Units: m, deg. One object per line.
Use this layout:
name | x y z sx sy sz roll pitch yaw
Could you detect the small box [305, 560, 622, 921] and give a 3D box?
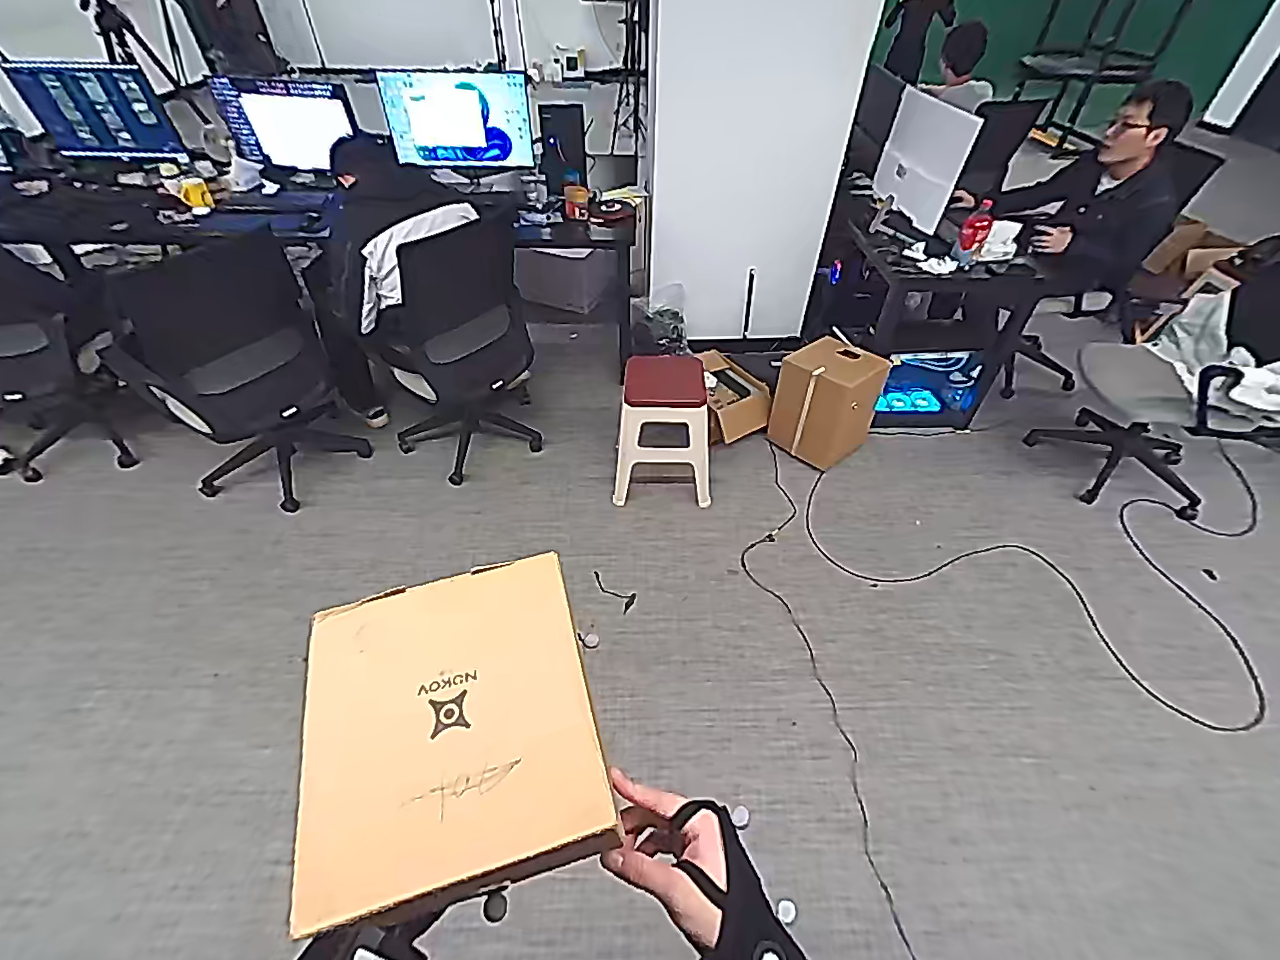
small box | -0.113 0.189 0.398 0.168 0.176 0.179 -13 55 -9
